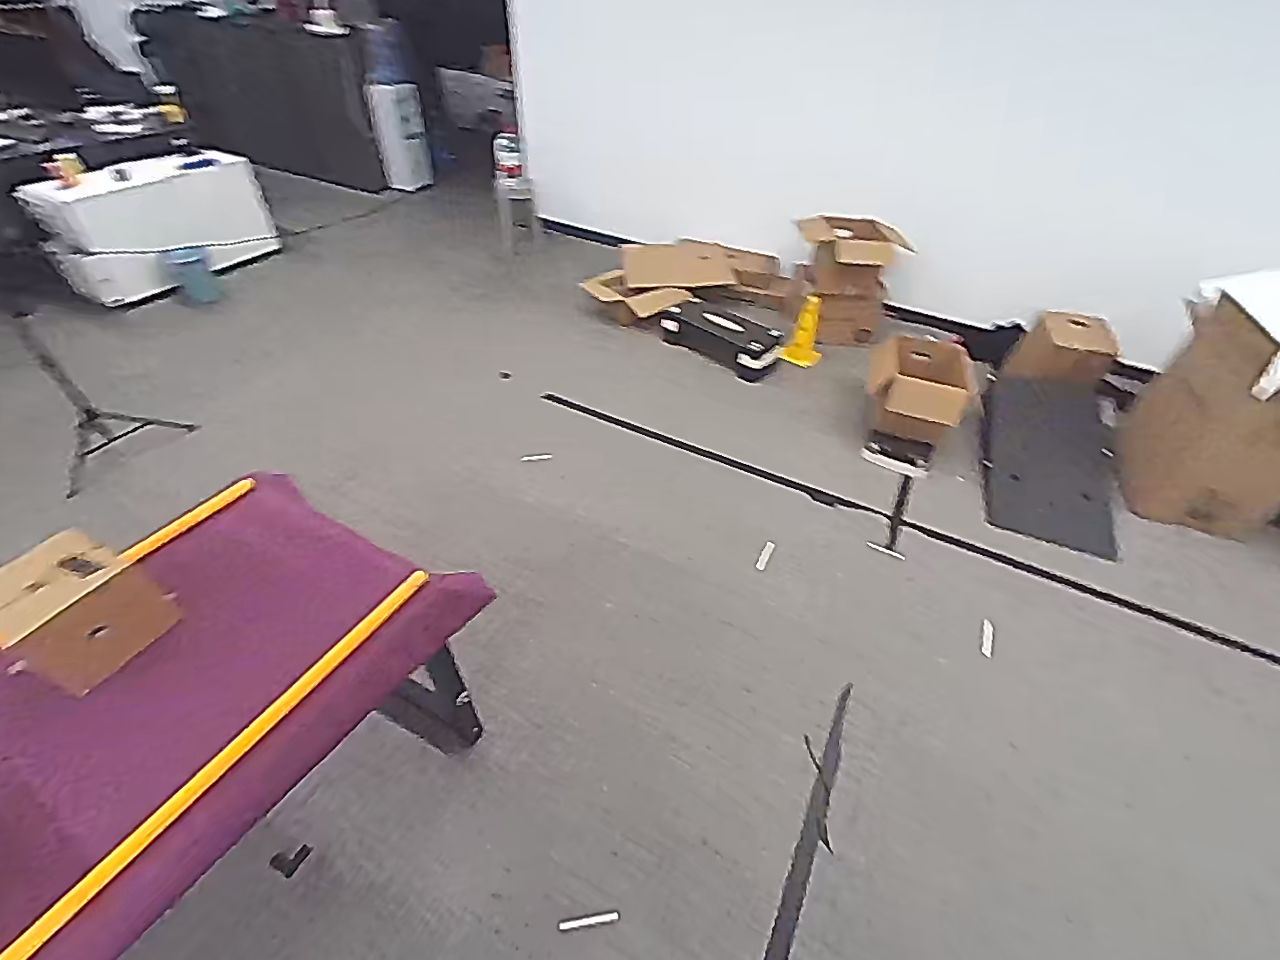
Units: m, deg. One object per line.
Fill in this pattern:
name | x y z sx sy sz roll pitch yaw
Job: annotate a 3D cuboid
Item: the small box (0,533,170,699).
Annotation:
small box | -0.948 0.226 0.905 0.168 0.176 0.179 20 47 16
